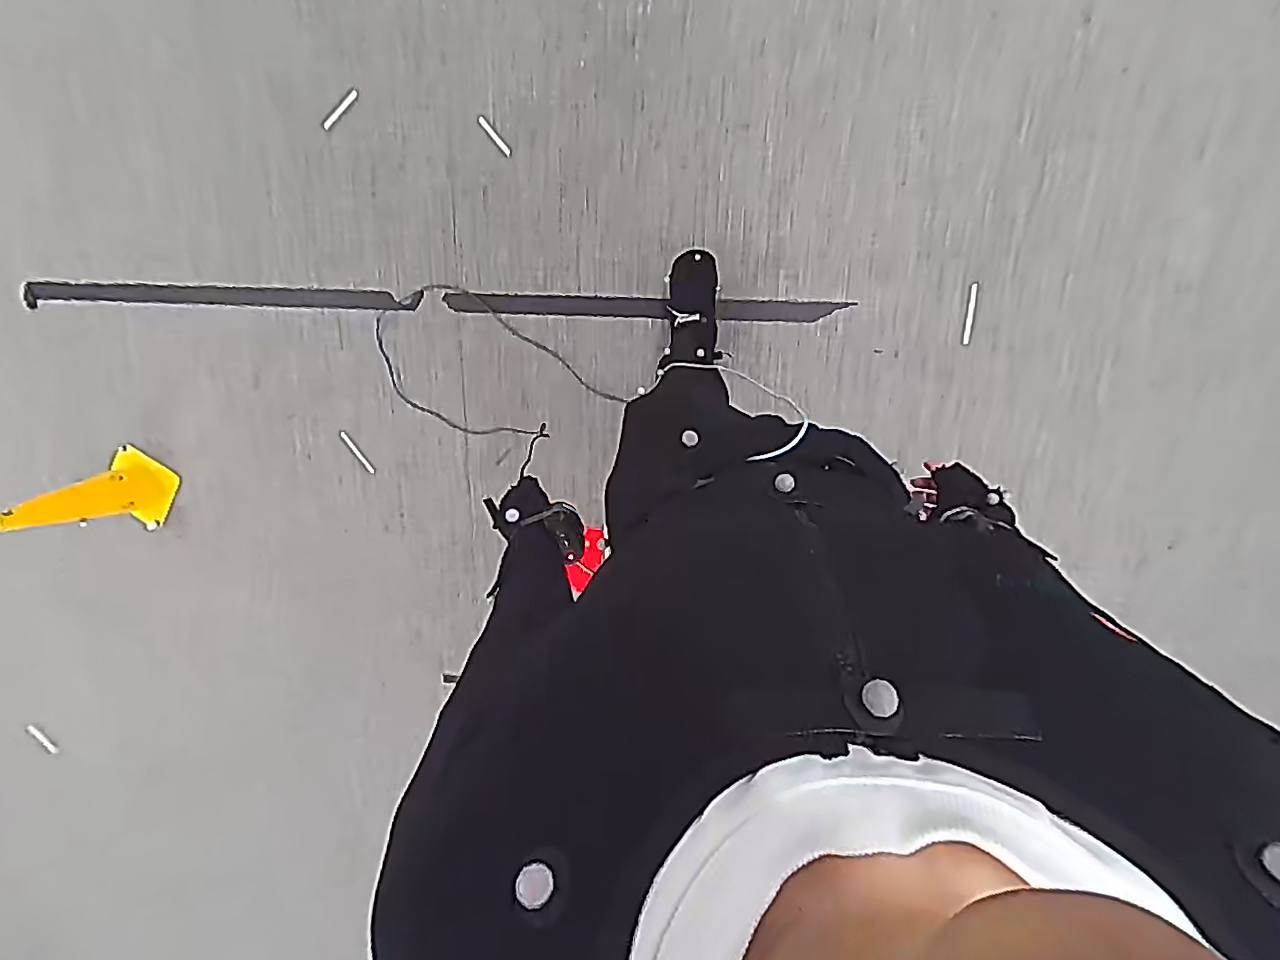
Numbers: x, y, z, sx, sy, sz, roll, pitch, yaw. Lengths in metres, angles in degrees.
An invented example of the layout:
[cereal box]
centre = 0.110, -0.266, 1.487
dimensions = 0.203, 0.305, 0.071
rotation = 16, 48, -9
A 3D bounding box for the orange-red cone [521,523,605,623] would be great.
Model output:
[orange-red cone]
centre = -0.225, 0.262, 1.349
dimensions = 0.199, 0.360, 0.198
rotation = 10, 103, 5
